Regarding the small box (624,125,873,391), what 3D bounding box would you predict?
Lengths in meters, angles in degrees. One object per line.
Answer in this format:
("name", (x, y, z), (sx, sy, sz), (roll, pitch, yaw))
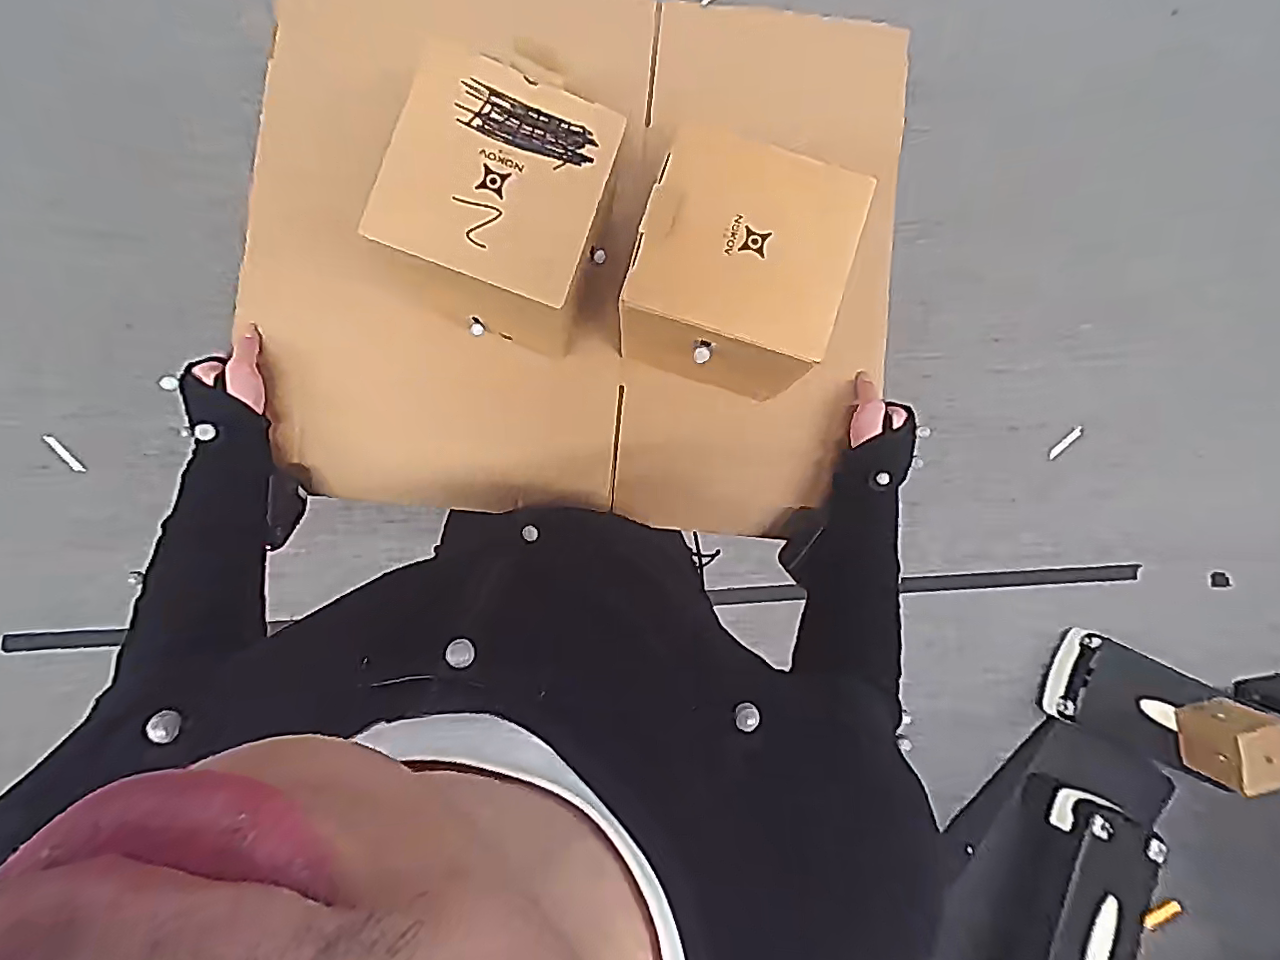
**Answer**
("small box", (0.093, -0.198, 0.539), (0.179, 0.176, 0.168), (18, 88, 1))
